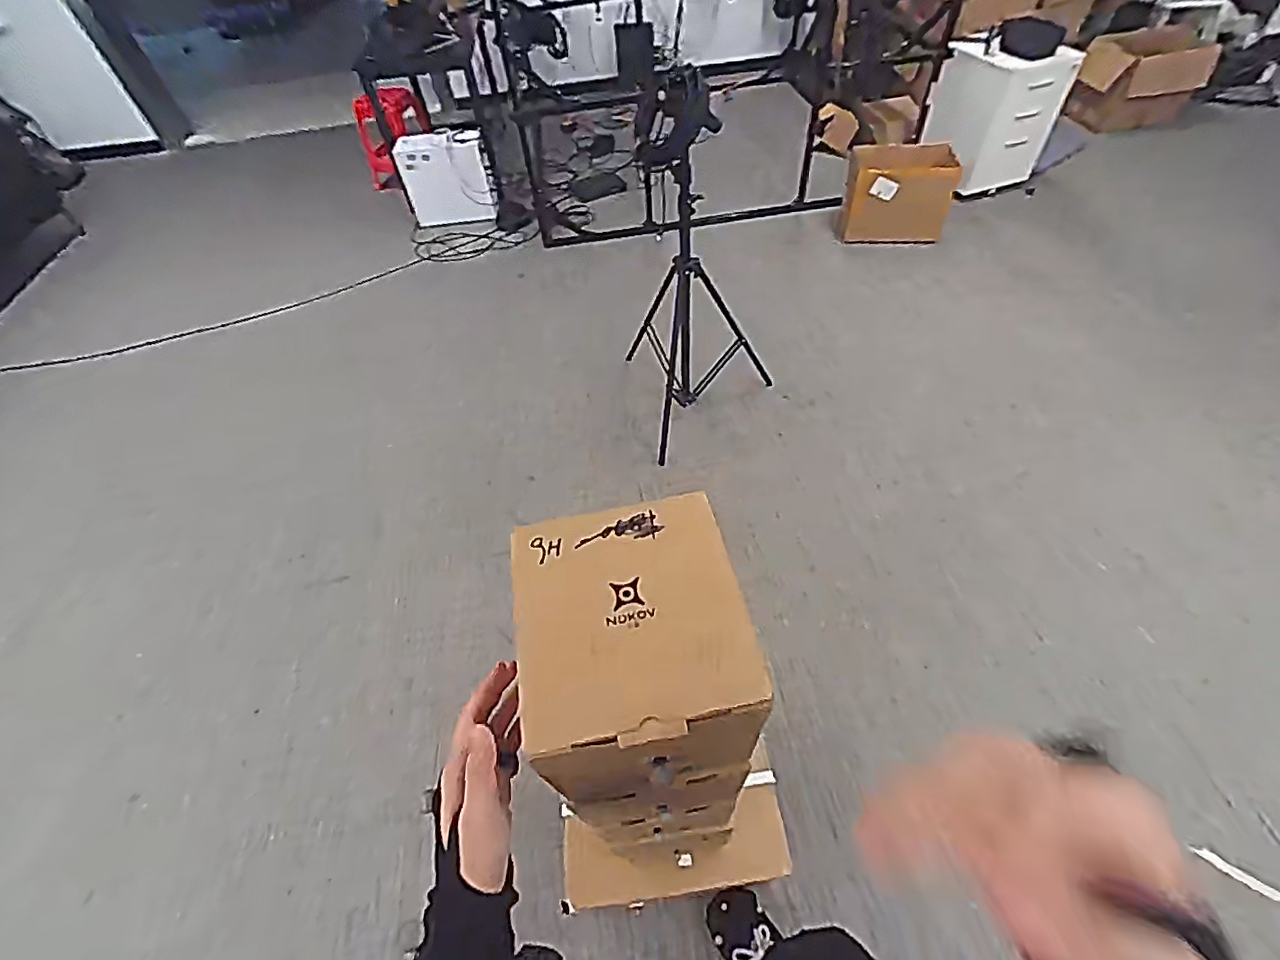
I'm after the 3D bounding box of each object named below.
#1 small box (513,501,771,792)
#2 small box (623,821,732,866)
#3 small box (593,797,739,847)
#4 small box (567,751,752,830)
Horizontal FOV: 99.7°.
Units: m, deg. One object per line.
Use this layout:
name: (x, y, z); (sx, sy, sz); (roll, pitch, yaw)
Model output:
small box: (-0.002, 0.147, 0.455); (0.168, 0.176, 0.179); (-11, 53, -4)
small box: (0.054, 0.567, 0.955); (0.179, 0.176, 0.168); (-10, 52, -3)
small box: (0.022, 0.357, 0.707); (0.168, 0.176, 0.179); (-9, 52, -3)
small box: (0.009, 0.252, 0.580); (0.168, 0.176, 0.179); (-11, 52, -3)
